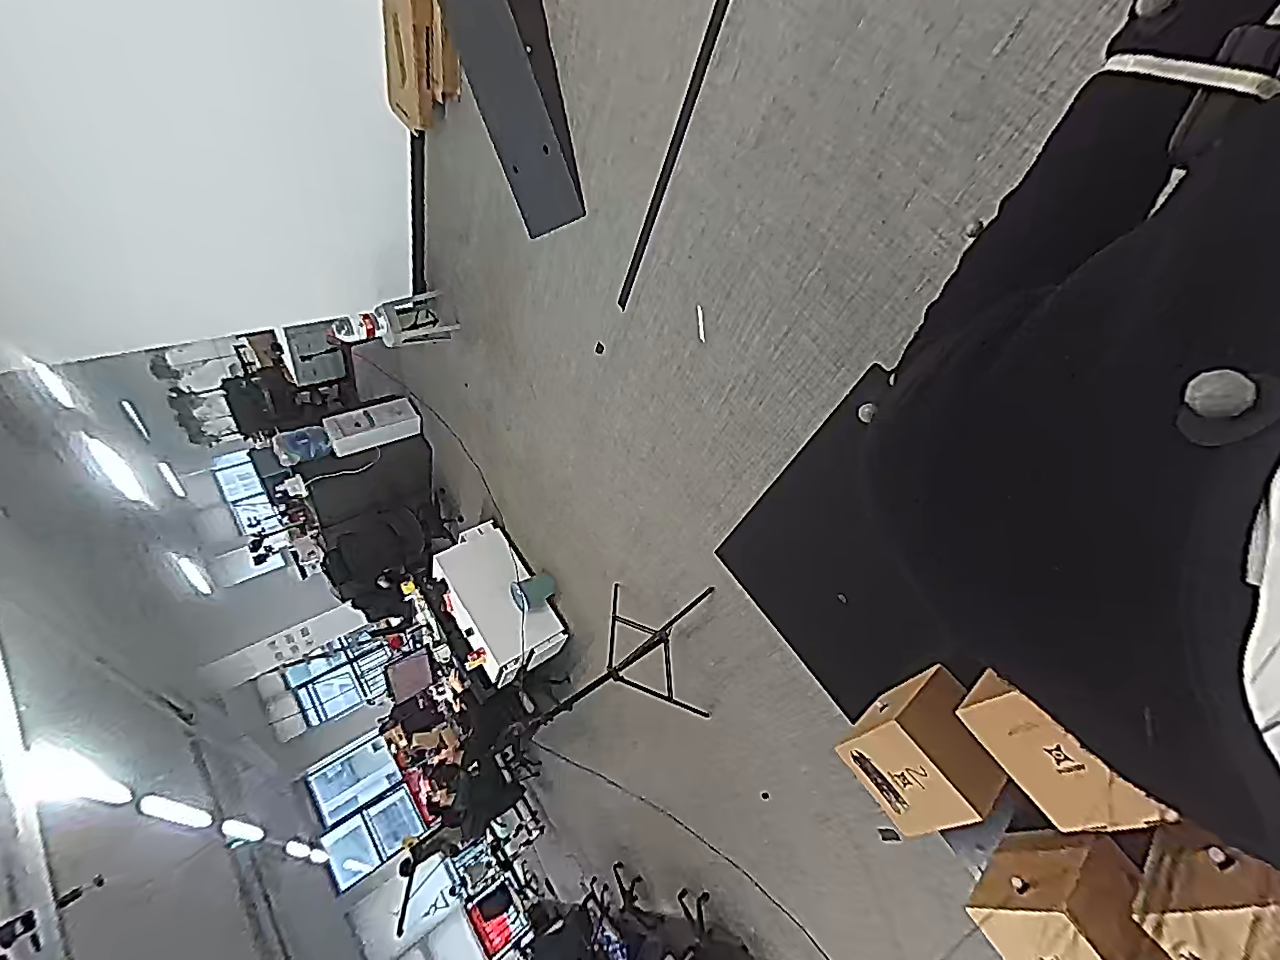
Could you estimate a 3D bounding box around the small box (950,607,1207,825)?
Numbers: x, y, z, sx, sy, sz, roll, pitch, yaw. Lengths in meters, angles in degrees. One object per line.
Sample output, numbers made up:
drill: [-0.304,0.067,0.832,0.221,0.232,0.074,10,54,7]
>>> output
small box: [0.556,0.297,0.692,0.179,0.176,0.168,52,143,21]

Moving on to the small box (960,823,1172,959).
small box: [0.633,0.645,0.801,0.168,0.176,0.179,53,144,19]

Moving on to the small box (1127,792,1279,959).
small box: [0.707,0.482,0.597,0.168,0.176,0.179,48,142,24]
